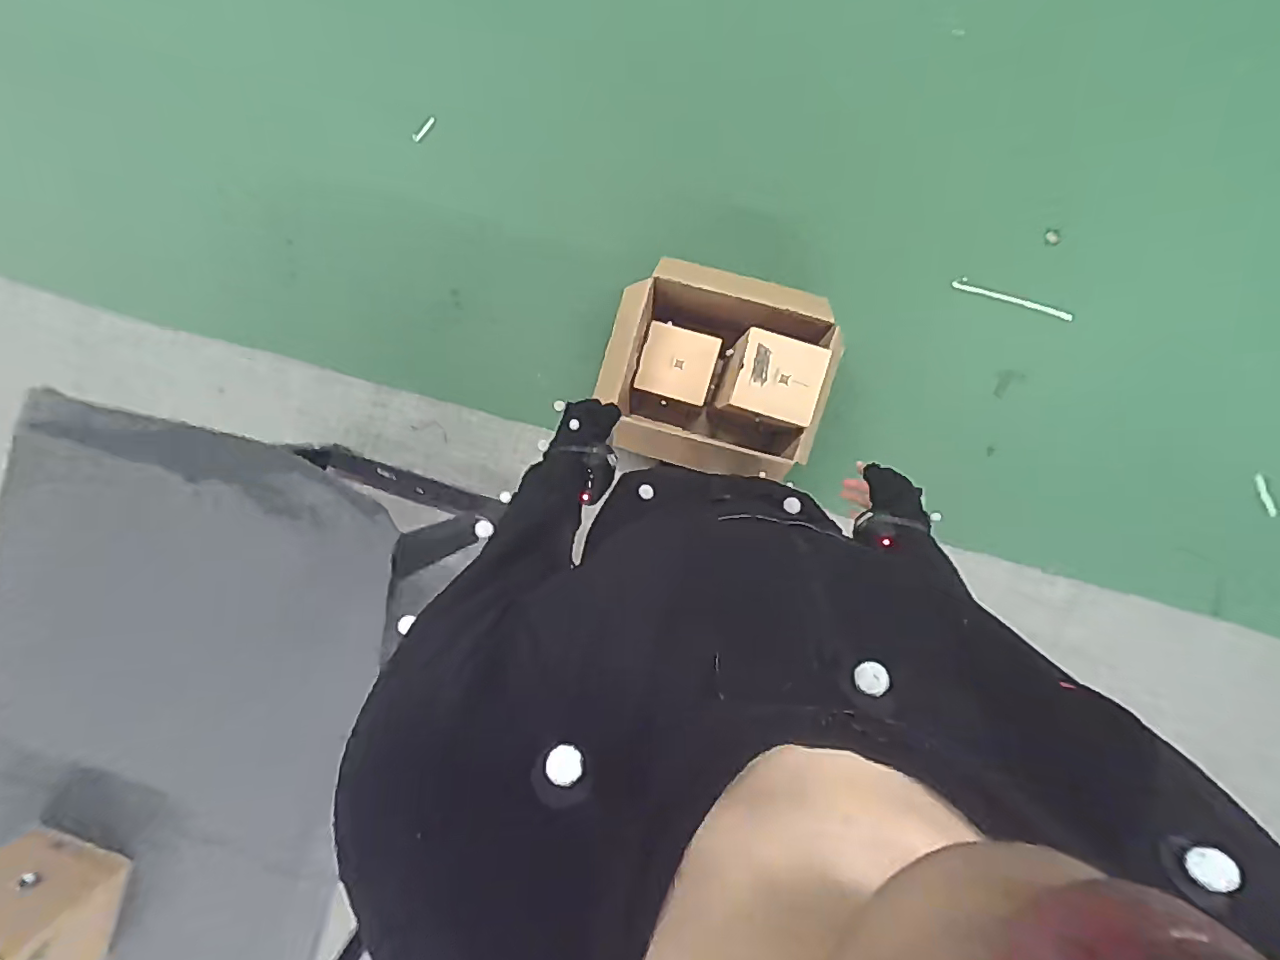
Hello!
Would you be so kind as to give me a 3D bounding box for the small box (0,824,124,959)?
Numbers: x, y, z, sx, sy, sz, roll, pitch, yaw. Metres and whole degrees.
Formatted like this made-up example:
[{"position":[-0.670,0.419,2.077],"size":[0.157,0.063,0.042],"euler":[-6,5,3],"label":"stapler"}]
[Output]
[{"position":[-0.886,0.631,0.754],"size":[0.168,0.176,0.179],"euler":[20,94,3],"label":"small box"}]
